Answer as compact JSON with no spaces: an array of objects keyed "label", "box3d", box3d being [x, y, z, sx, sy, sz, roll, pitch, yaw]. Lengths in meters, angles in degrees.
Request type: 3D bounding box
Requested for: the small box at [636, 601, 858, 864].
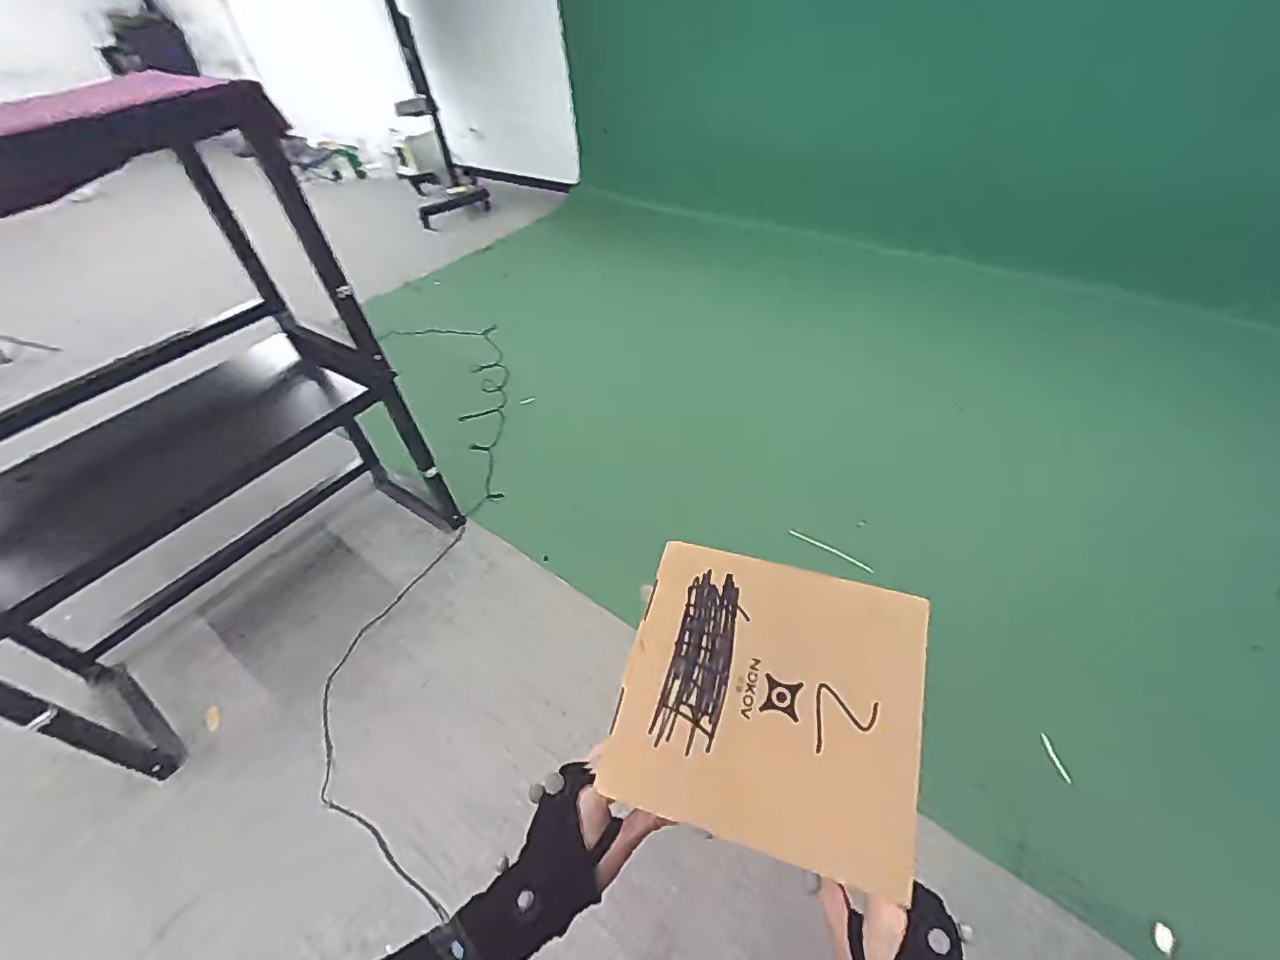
[{"label":"small box","box3d":[0.107,0.248,0.542,0.168,0.176,0.179,12,62,15]}]
